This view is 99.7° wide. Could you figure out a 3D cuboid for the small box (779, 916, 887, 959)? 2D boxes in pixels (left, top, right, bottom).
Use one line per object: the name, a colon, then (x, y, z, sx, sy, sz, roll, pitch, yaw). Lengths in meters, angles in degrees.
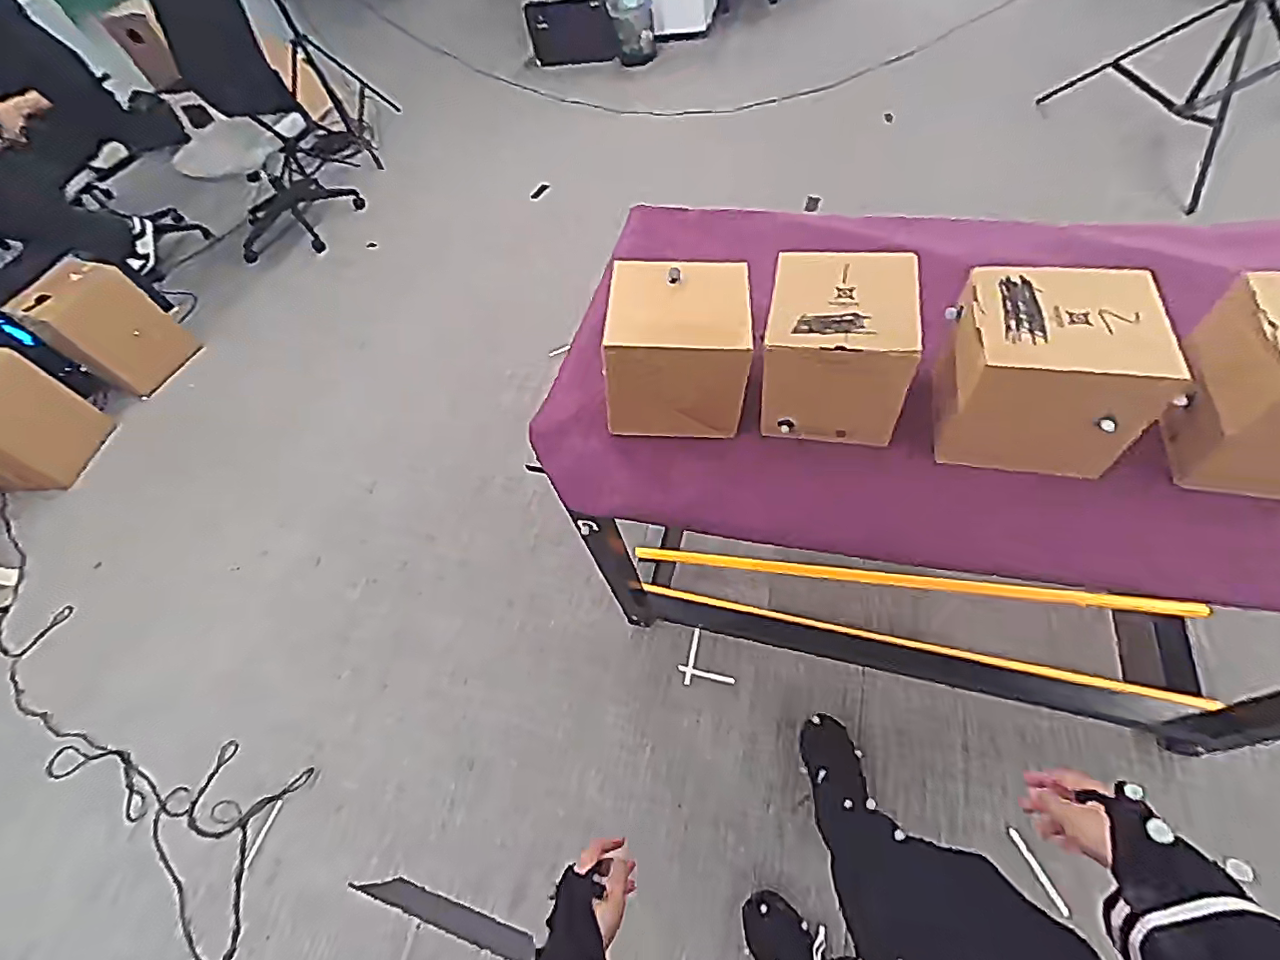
small box: (0.331, 0.850, 0.882, 0.179, 0.176, 0.168, -26, 53, -8)
